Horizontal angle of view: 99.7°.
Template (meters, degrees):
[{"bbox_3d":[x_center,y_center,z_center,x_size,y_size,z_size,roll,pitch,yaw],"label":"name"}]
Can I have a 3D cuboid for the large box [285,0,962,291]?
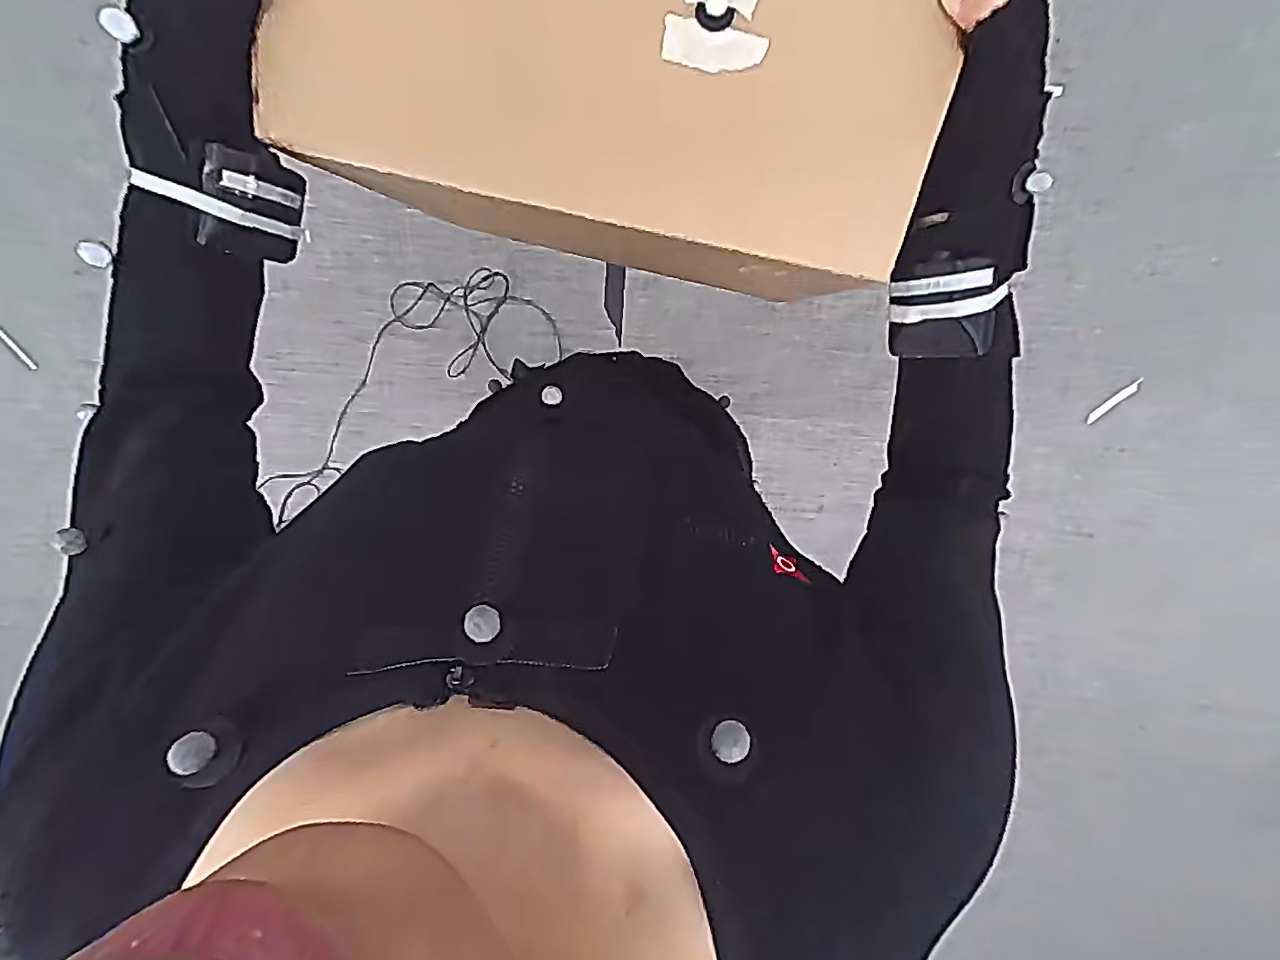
[{"bbox_3d":[0.002,-0.363,0.451,0.408,0.320,0.320,12,107,0],"label":"large box"}]
